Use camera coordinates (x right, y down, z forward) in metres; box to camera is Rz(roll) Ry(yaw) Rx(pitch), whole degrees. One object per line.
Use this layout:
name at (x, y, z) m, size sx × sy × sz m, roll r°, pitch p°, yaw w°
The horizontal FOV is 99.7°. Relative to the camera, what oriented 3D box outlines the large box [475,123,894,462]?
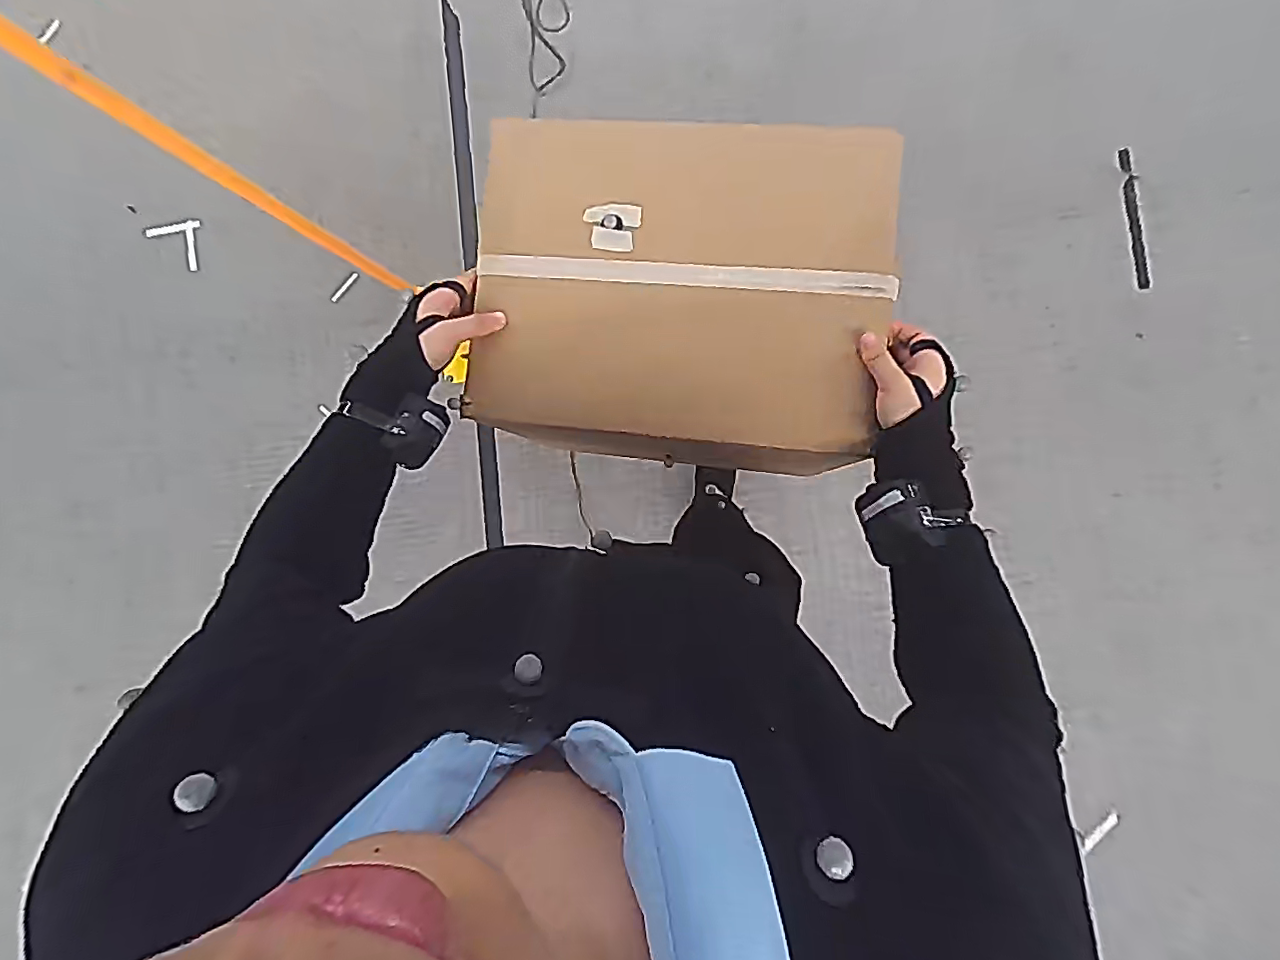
large box at (0.059, -0.198, 0.686) m, size 0.408 × 0.320 × 0.320 m, roll 6°, pitch 86°, yaw 8°
